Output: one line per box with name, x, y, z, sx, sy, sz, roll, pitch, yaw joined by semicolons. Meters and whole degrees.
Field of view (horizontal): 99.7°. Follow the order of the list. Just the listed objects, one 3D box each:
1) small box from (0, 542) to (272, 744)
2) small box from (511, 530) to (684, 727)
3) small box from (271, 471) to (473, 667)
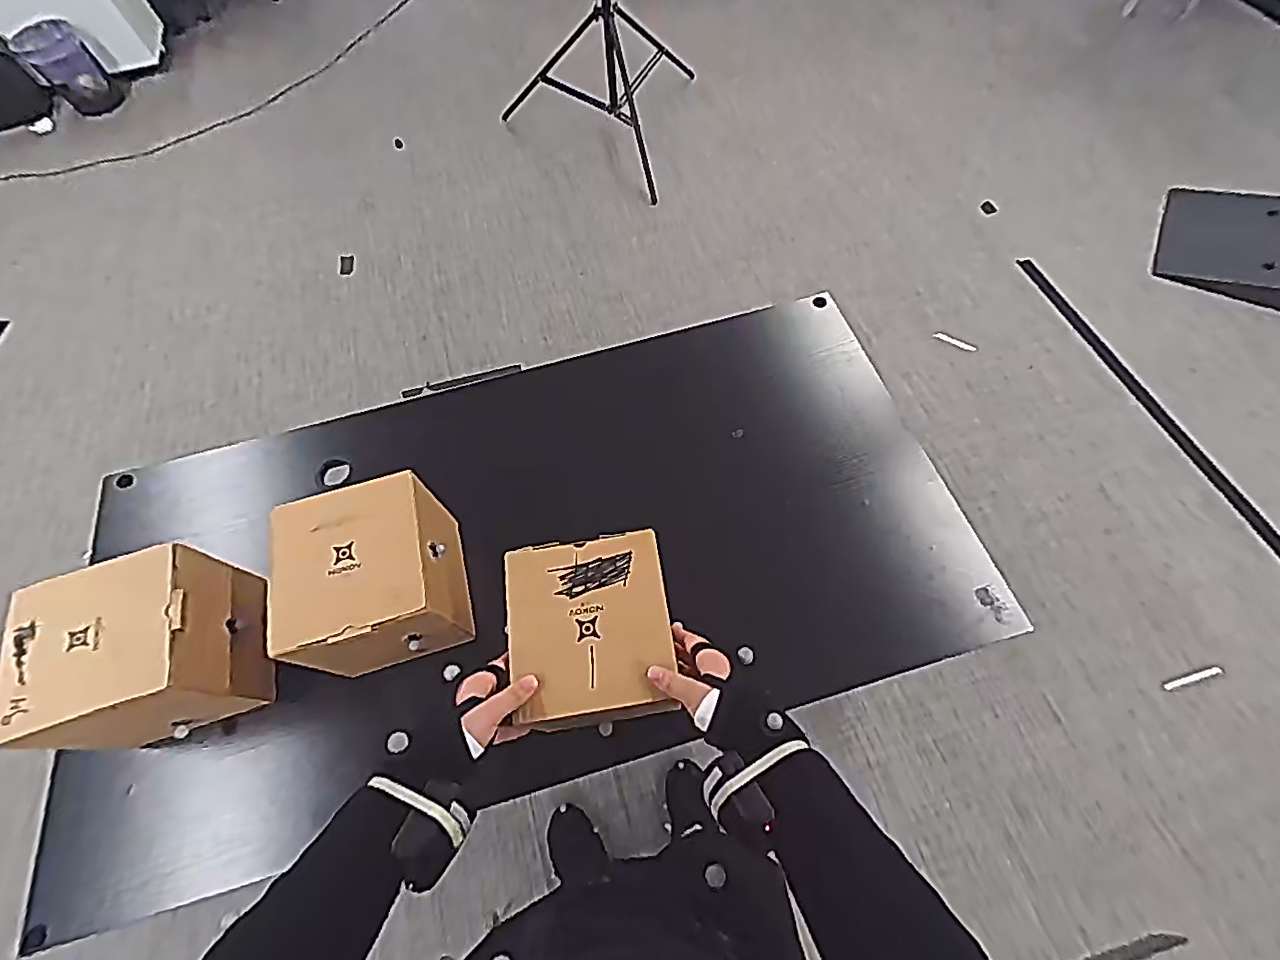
small box;-0.567;0.197;0.637;0.179;0.176;0.168;-17;64;-7
small box;-0.047;0.177;0.622;0.168;0.176;0.179;-9;64;-1
small box;-0.318;0.119;0.666;0.168;0.176;0.179;-16;63;-7
